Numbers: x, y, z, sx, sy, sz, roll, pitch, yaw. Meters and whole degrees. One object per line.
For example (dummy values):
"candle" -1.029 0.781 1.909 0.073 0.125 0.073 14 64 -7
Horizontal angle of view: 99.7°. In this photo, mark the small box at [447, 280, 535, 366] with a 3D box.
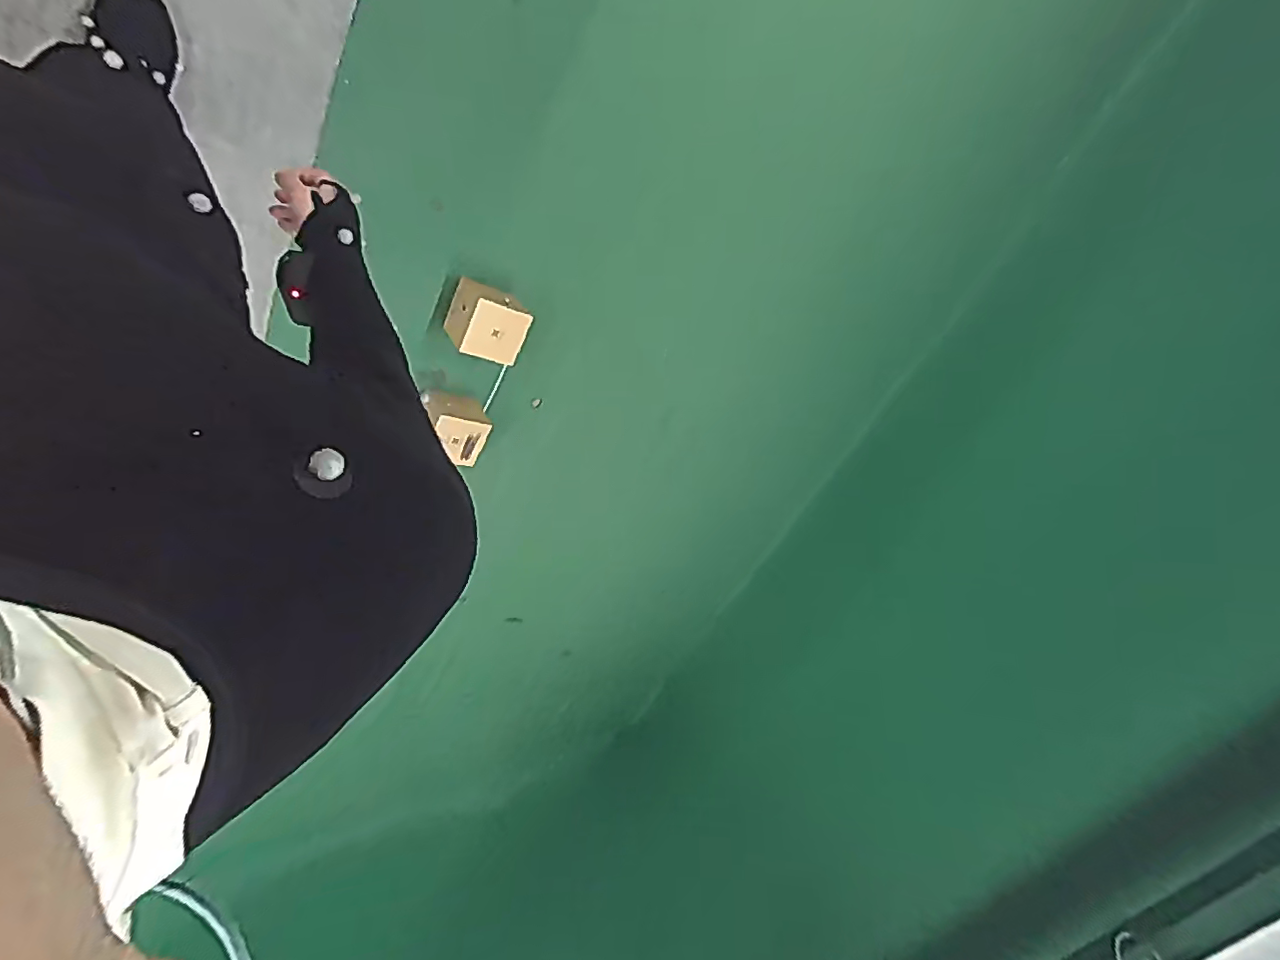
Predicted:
"small box" -0.445 -0.465 1.591 0.179 0.176 0.168 7 122 -44
